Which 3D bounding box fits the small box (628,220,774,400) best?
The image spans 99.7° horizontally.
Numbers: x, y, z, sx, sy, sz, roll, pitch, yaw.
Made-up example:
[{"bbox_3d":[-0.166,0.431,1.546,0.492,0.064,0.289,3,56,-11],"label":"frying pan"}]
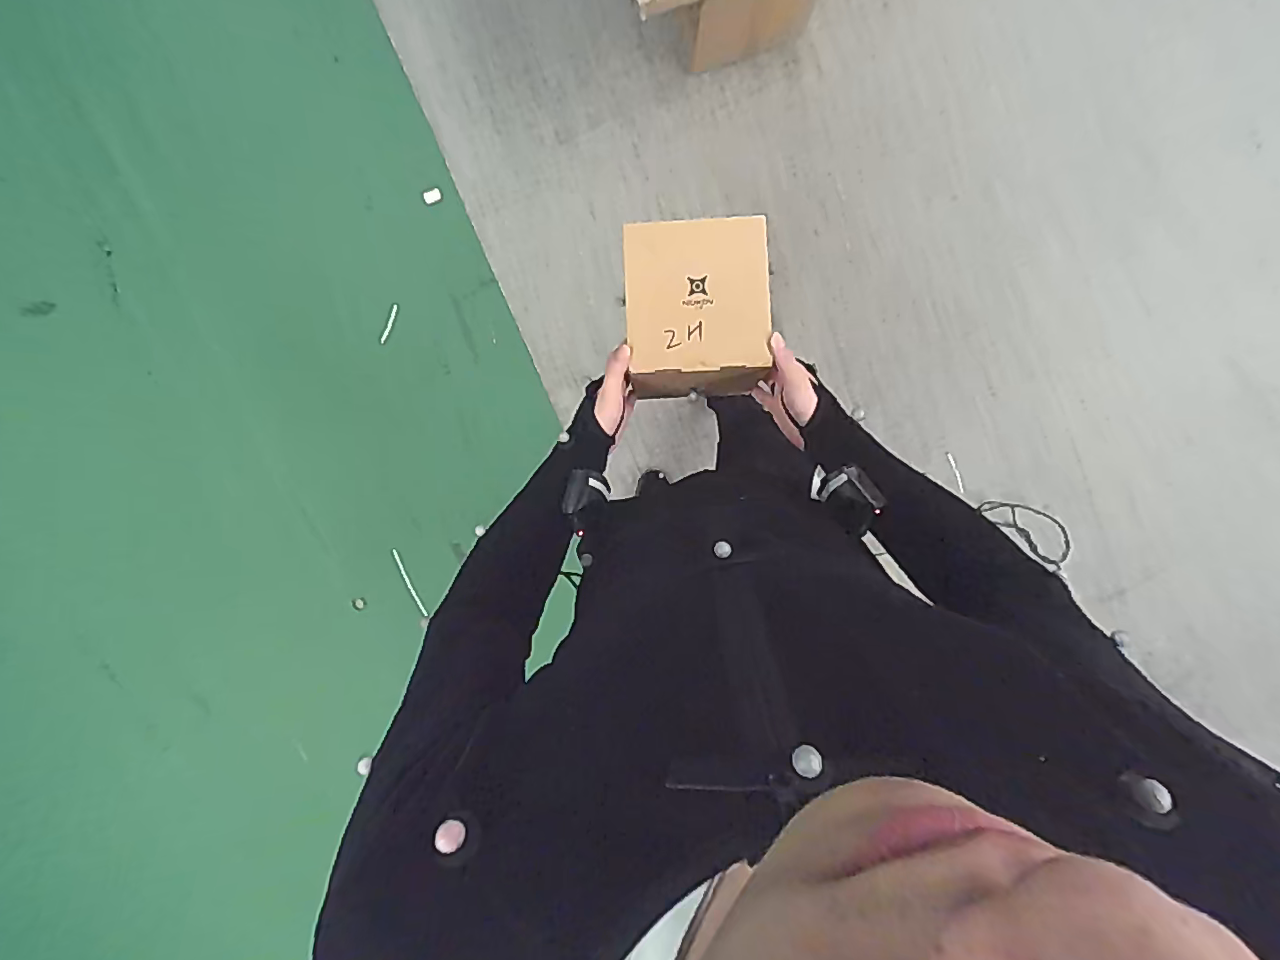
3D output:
[{"bbox_3d":[0.070,-0.207,0.698,0.168,0.176,0.179,-3,89,2],"label":"small box"}]
